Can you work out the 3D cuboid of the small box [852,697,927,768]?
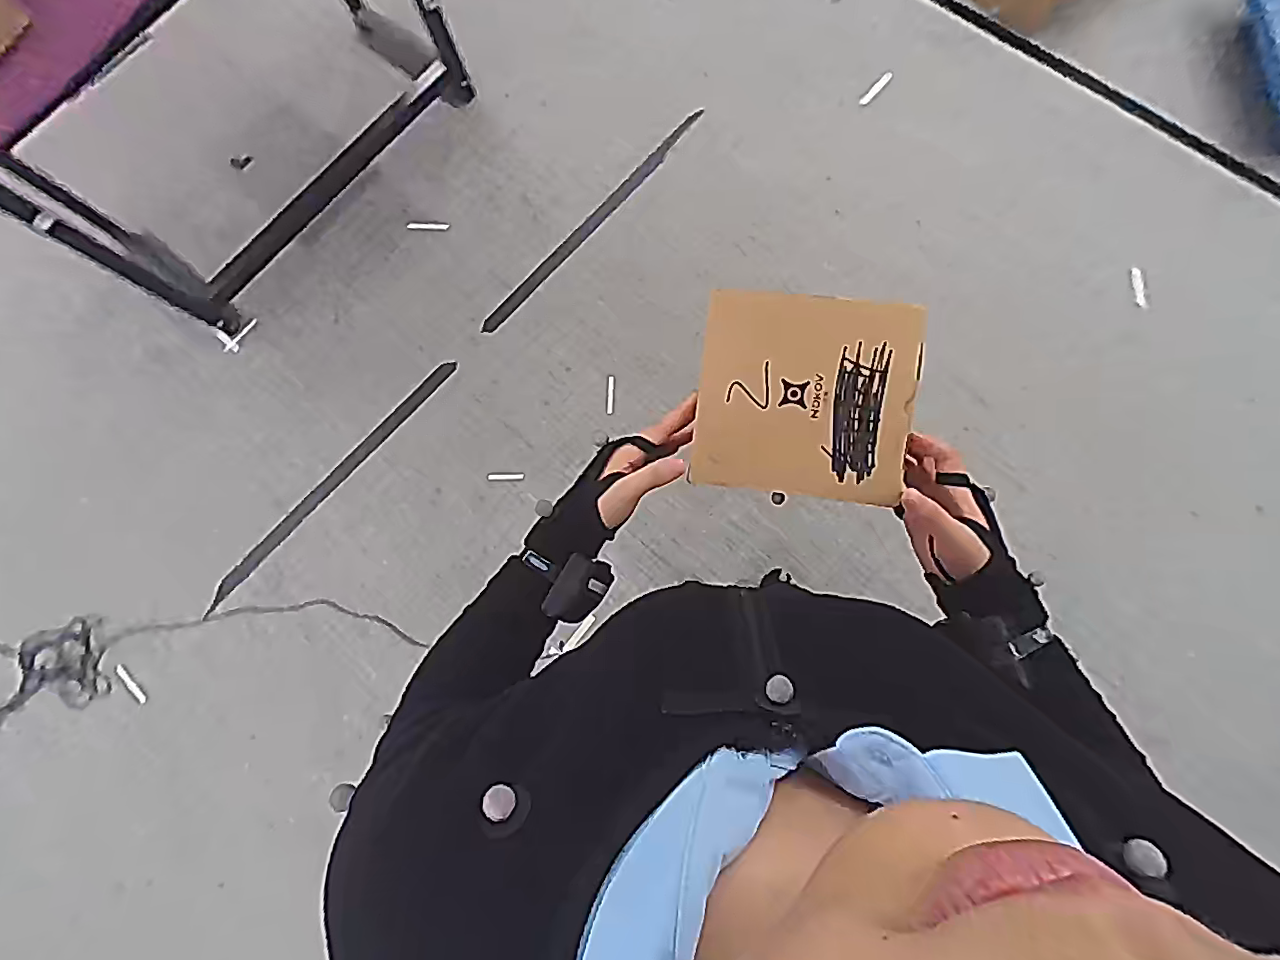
[{"bbox_3d":[0.649,0.650,1.310,0.179,0.176,0.168,39,84,10],"label":"small box"}]

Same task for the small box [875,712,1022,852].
[{"bbox_3d":[0.643,0.626,1.149,0.179,0.176,0.168,41,83,11],"label":"small box"}]
